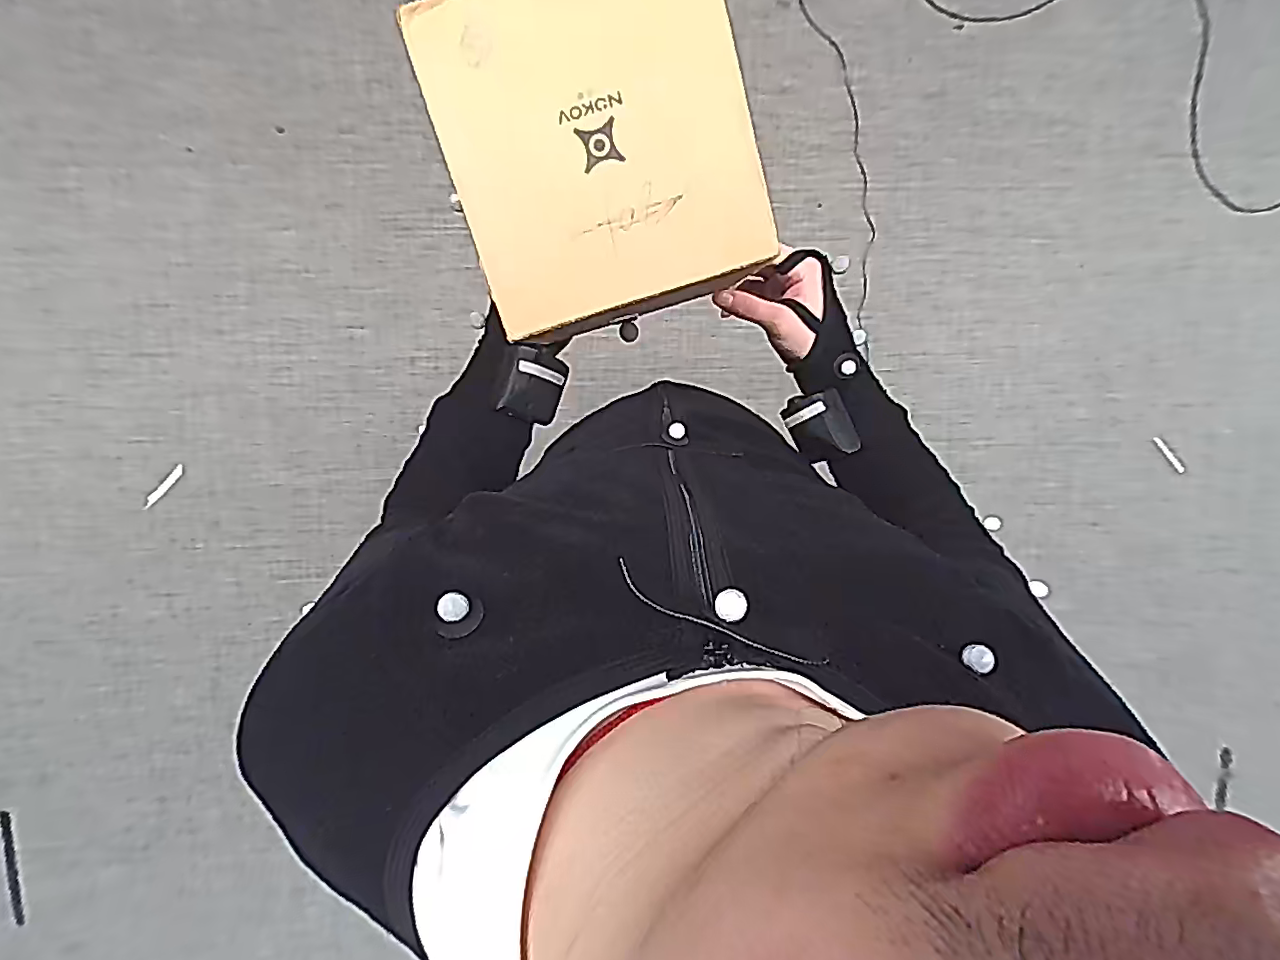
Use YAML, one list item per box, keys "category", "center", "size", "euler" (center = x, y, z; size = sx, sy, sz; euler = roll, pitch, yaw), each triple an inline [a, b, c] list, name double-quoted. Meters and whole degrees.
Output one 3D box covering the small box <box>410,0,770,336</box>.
- category: "small box"
  center: [-0.025, -0.209, 0.380]
  size: [0.168, 0.176, 0.179]
  euler: [-16, 104, 3]
